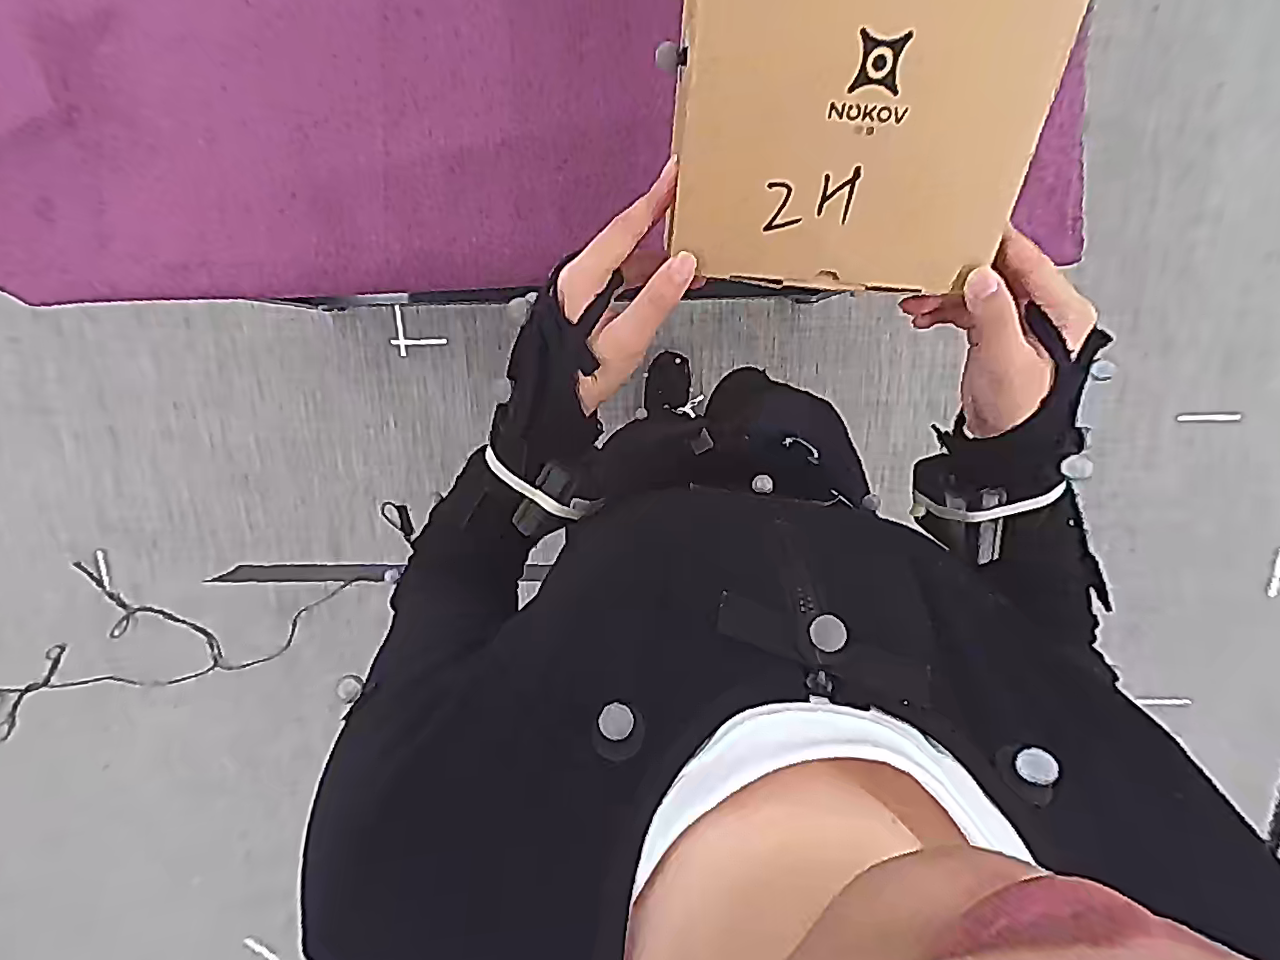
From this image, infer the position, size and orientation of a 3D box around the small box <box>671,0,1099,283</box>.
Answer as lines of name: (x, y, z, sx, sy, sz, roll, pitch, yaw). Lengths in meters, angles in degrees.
small box: (0.108, -0.222, 0.305, 0.168, 0.176, 0.179, 5, 119, -1)
